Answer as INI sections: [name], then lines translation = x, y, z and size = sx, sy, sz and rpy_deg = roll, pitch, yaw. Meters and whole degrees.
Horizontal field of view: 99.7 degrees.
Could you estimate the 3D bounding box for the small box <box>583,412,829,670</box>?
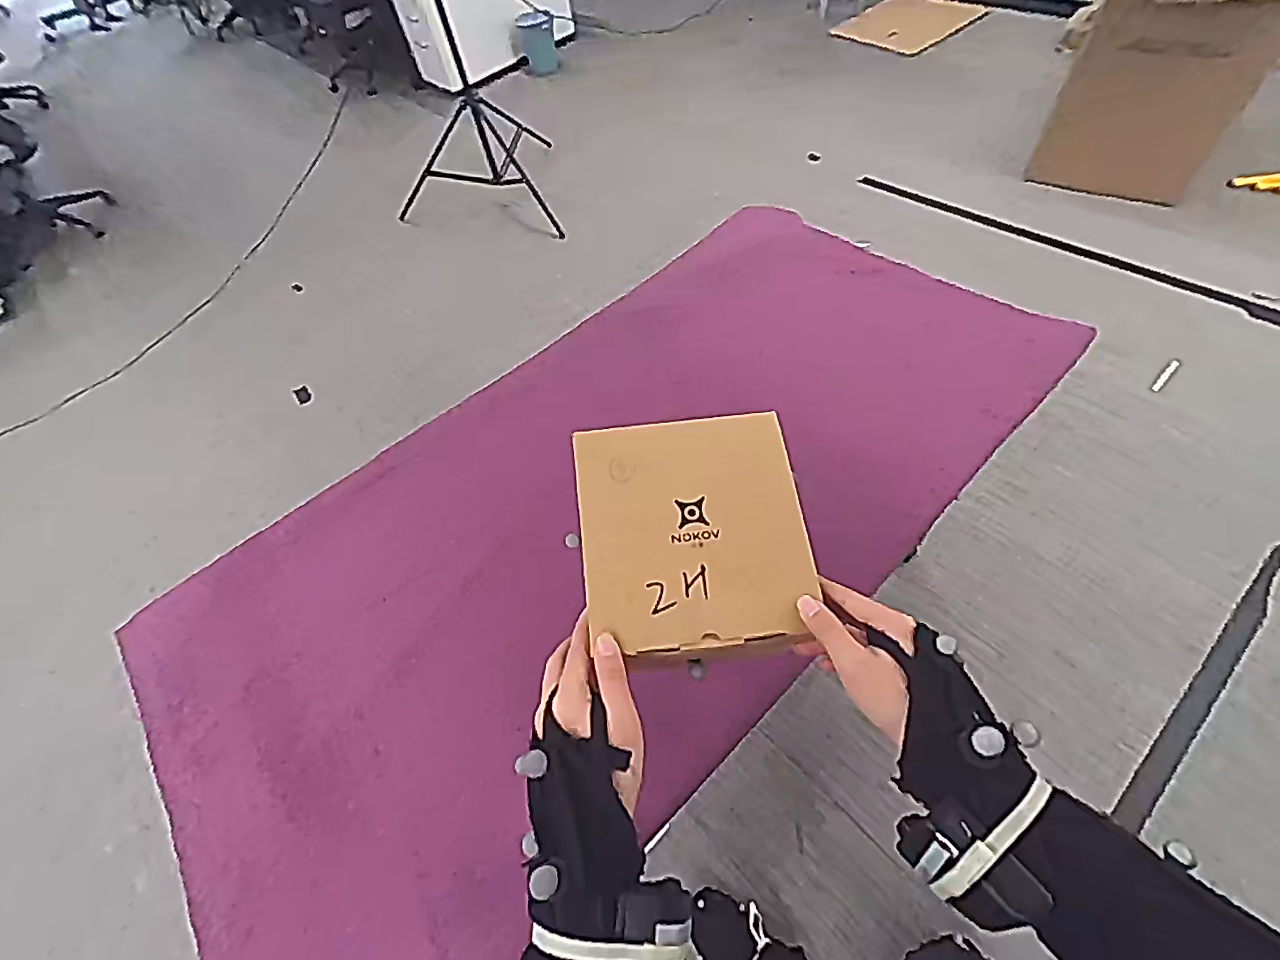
[small box]
translation = 0.042, 0.063, 0.478
size = 0.168, 0.176, 0.179
rpy_deg = -7, 67, -2
